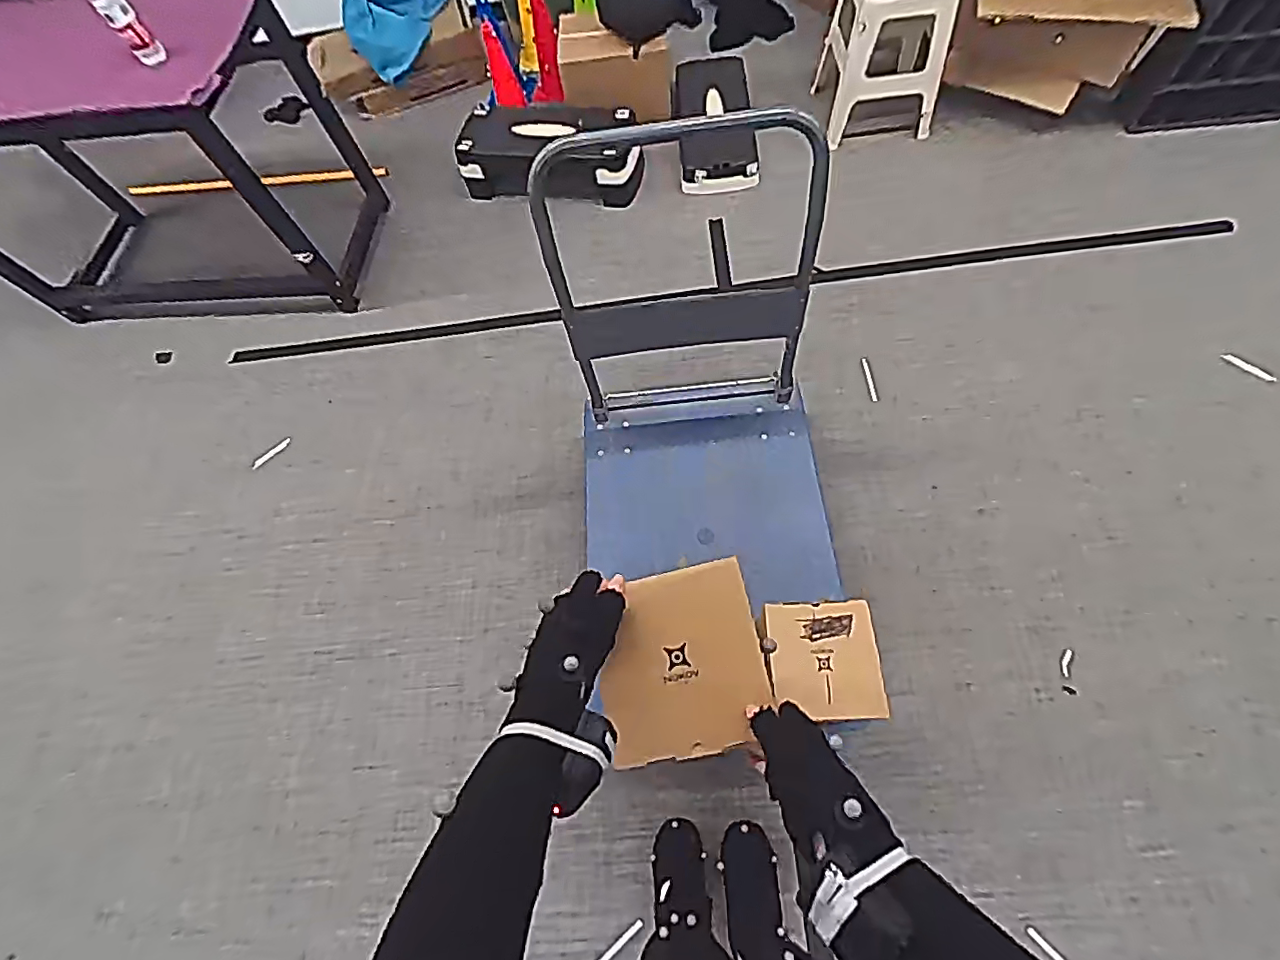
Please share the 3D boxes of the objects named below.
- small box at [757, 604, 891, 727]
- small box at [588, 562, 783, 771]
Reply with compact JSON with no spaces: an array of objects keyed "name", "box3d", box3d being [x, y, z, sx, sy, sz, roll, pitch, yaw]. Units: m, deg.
[{"name":"small box","box3d":[0.293,0.314,0.905,0.168,0.176,0.179,-3,65,4]},{"name":"small box","box3d":[0.051,0.200,0.615,0.168,0.176,0.179,-14,77,6]}]
